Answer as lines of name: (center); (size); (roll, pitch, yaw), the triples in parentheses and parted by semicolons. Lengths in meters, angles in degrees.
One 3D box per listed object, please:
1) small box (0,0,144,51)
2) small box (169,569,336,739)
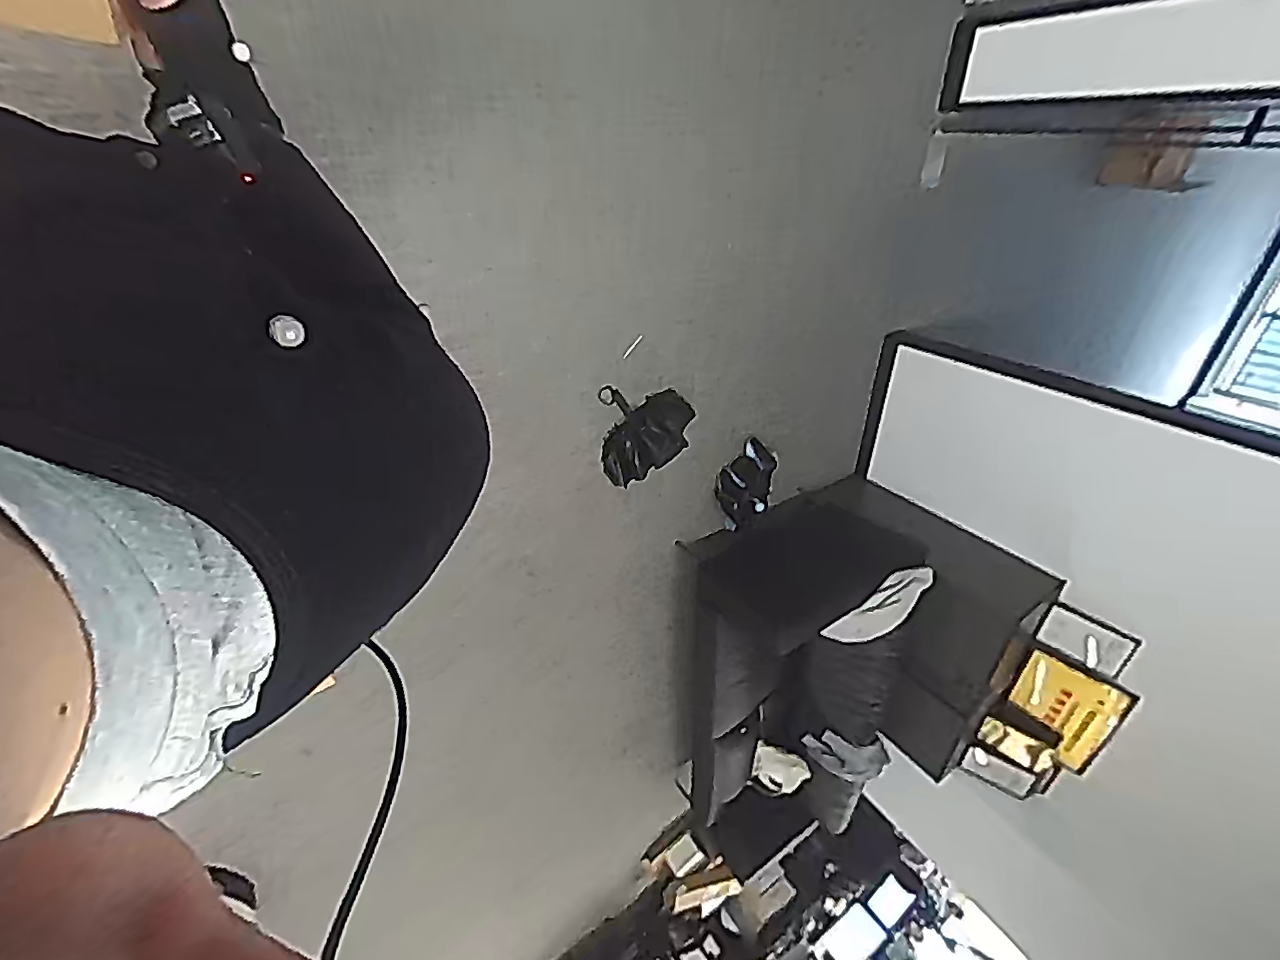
small box: (-0.406, -0.356, 0.287); (0.179, 0.176, 0.168); (-14, 135, -31)
small box: (-0.643, 0.282, 0.909); (0.179, 0.176, 0.168); (-23, 129, -26)
